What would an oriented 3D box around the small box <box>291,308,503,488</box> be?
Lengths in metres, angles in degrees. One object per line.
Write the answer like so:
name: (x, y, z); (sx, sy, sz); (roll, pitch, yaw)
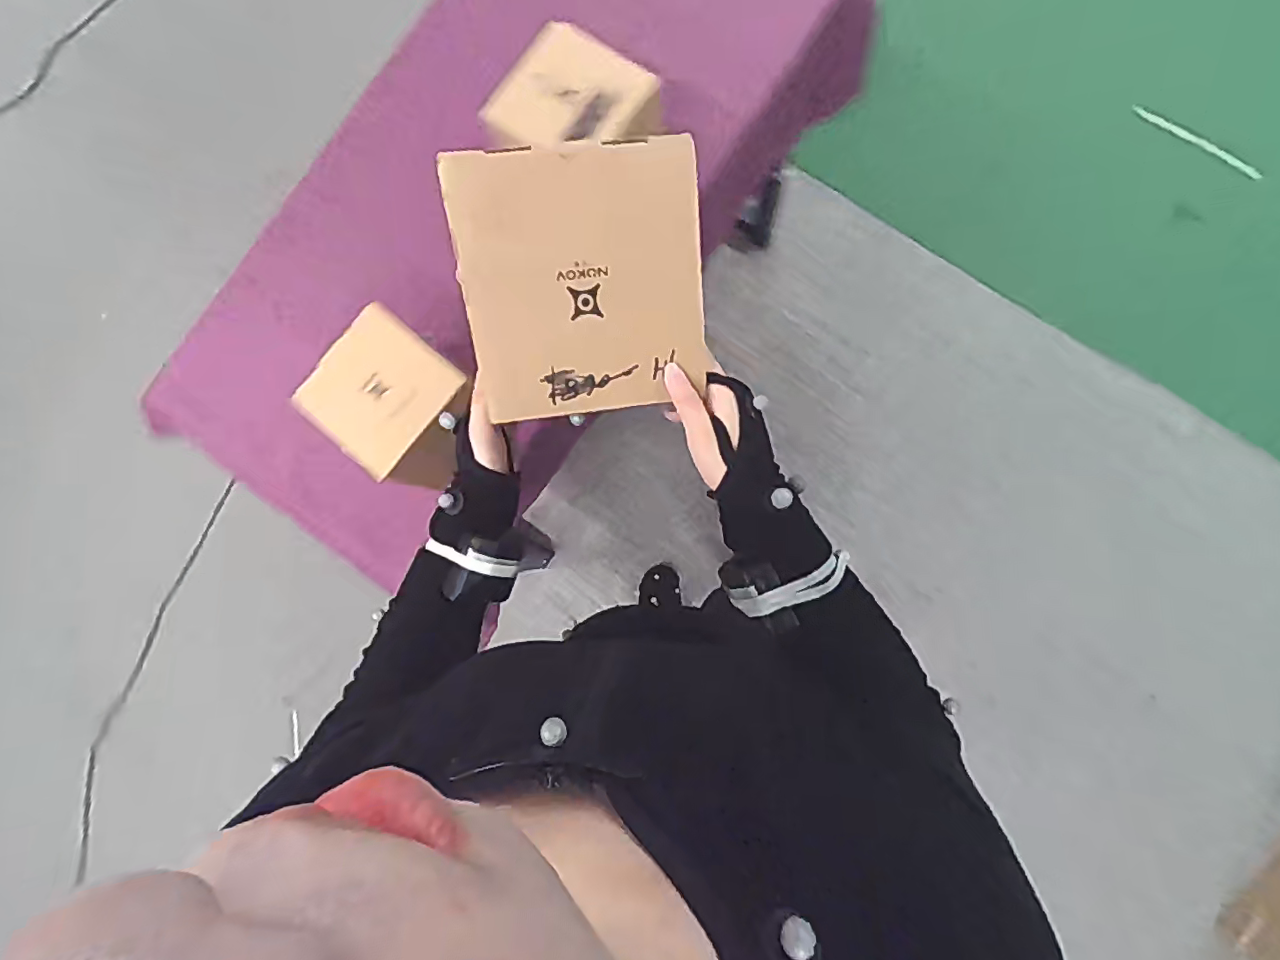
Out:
small box: (-0.332, -0.103, 0.771); (0.179, 0.176, 0.168); (39, 89, 9)
